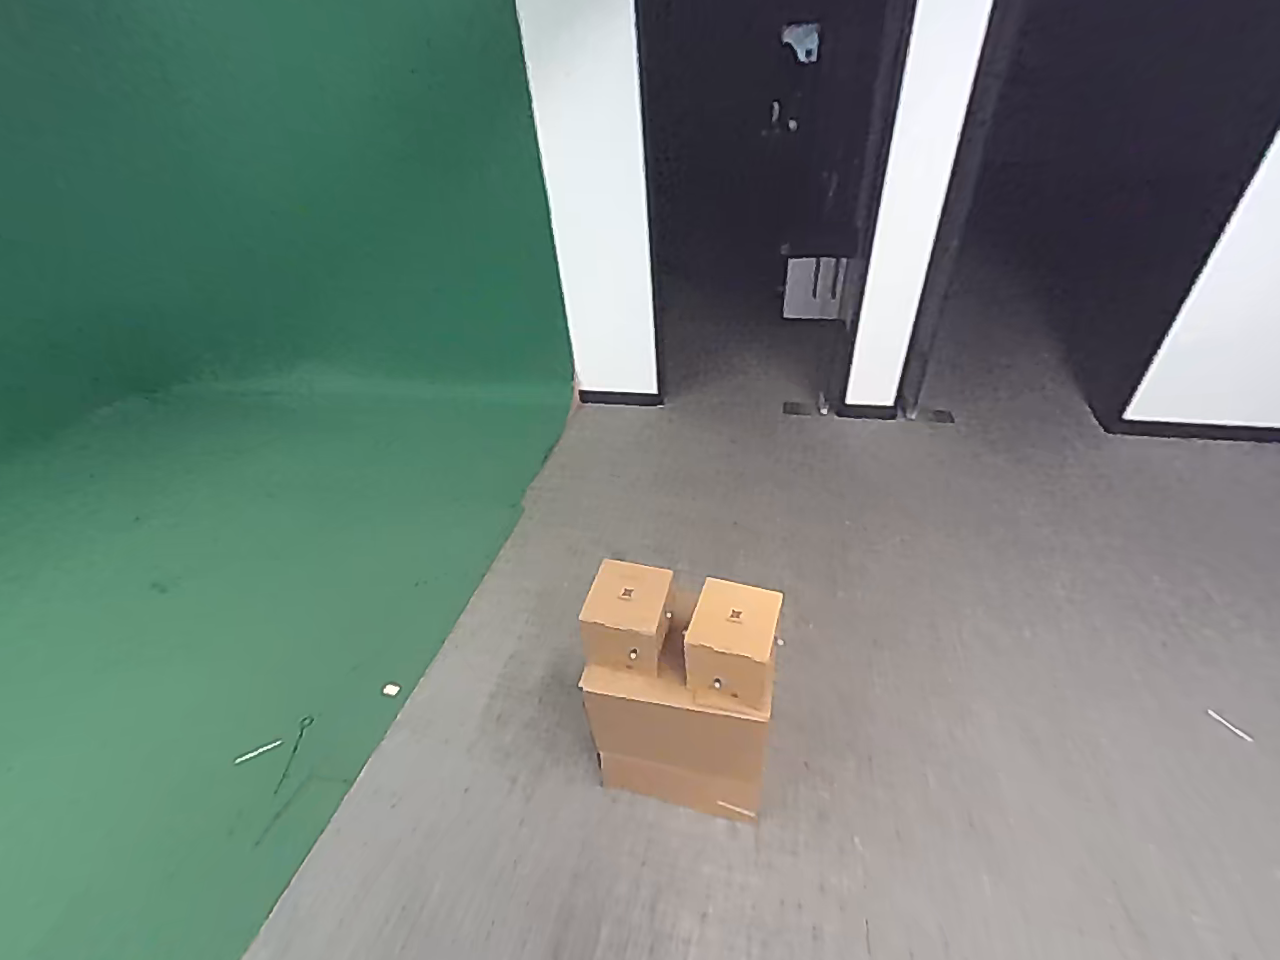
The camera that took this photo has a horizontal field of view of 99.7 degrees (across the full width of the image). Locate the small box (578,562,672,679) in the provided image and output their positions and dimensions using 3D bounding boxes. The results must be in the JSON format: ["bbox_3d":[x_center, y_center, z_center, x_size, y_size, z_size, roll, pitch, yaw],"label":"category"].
[{"bbox_3d":[-0.024,0.315,1.206,0.168,0.176,0.179,8,40,13],"label":"small box"}]

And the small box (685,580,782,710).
[{"bbox_3d":[0.198,0.344,1.138,0.168,0.176,0.179,8,40,19],"label":"small box"}]
